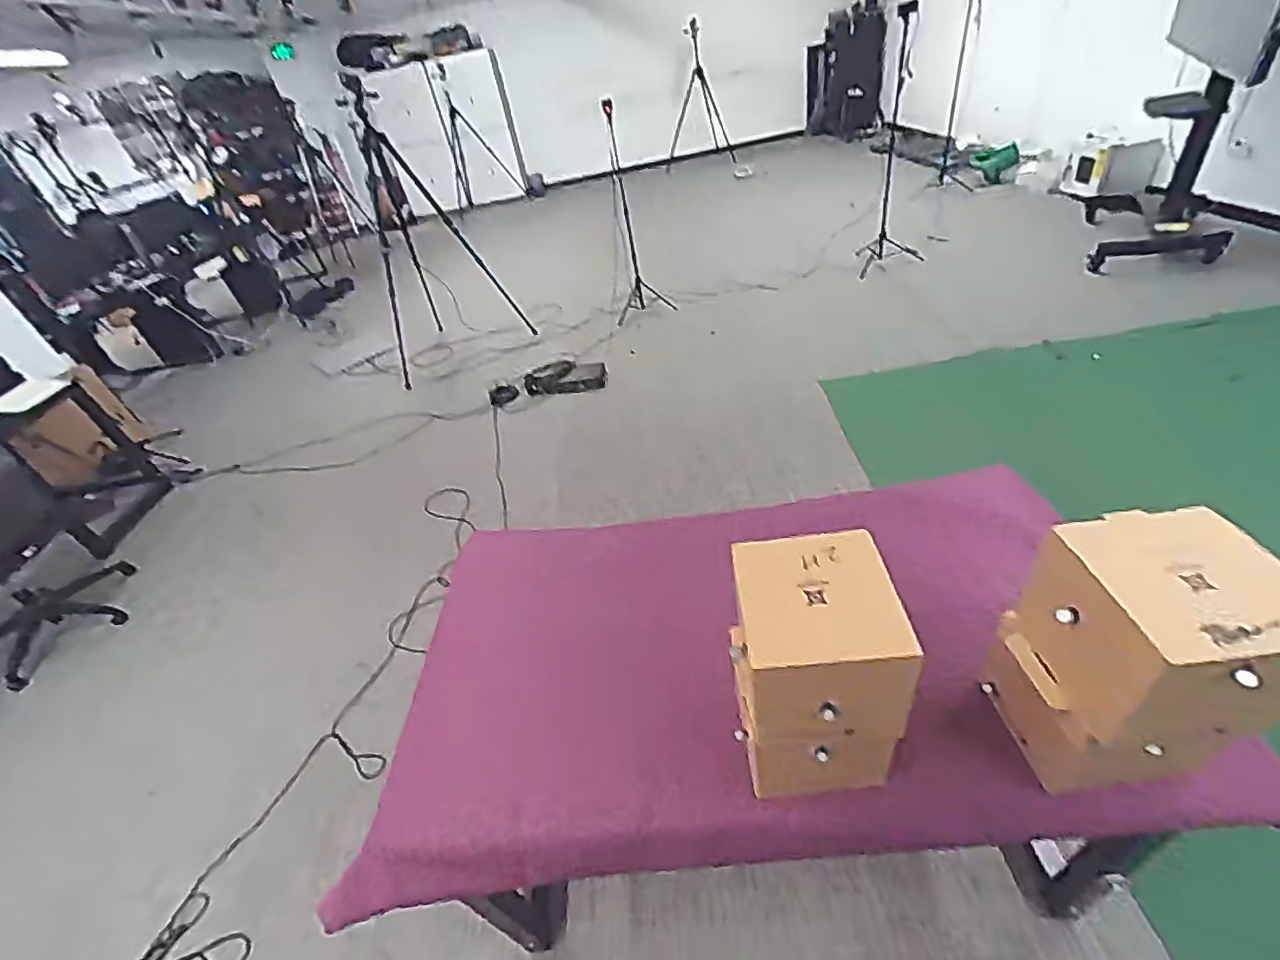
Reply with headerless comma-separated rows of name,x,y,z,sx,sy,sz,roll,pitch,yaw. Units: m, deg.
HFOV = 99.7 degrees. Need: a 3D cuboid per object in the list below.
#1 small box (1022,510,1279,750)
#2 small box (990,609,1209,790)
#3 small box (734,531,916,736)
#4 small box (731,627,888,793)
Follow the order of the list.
small box,0.552,0.159,0.579,0.168,0.176,0.179,-9,38,6
small box,0.583,0.273,0.694,0.179,0.176,0.168,-10,39,4
small box,0.208,0.188,0.645,0.168,0.176,0.179,-7,38,8
small box,0.230,0.312,0.750,0.179,0.176,0.168,-8,38,6
